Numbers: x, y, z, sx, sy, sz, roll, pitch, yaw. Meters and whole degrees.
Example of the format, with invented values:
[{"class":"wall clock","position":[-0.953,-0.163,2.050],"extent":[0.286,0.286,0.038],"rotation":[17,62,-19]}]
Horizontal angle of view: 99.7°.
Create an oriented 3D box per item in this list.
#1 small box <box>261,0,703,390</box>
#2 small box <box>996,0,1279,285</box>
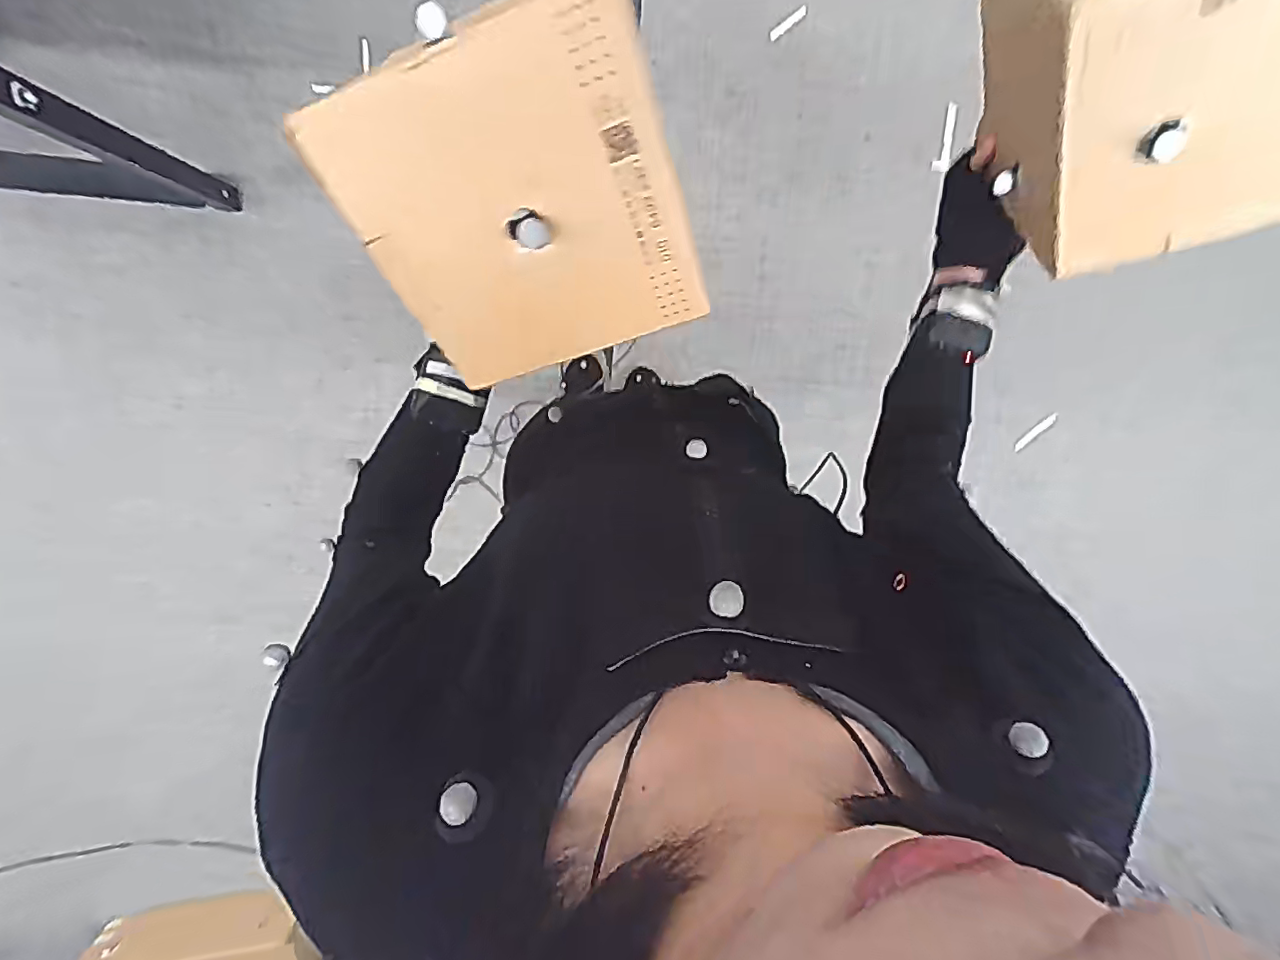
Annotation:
[{"class":"small box","position":[-0.067,-0.190,0.331],"extent":[0.176,0.179,0.168],"rotation":[-16,134,13]},{"class":"small box","position":[0.334,-0.260,0.332],"extent":[0.168,0.179,0.176],"rotation":[-11,135,24]}]
